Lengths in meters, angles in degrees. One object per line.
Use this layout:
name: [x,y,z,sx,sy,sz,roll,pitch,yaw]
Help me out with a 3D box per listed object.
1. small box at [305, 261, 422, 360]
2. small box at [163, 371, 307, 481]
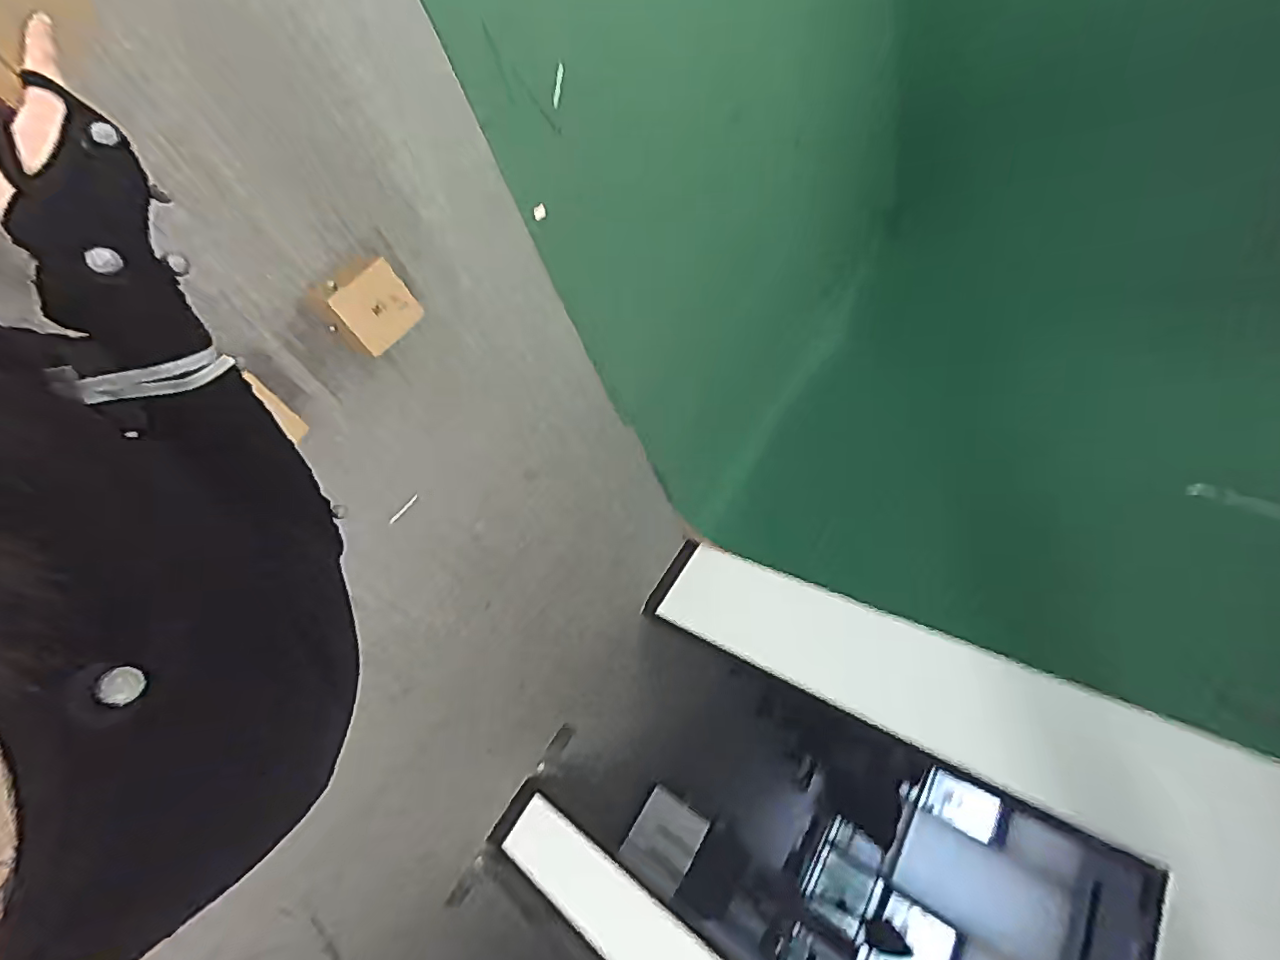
small box: [-0.692,-0.423,1.343,0.179,0.176,0.168,-53,140,-23]
small box: [-0.902,-0.126,1.204,0.168,0.176,0.179,-53,140,-23]
